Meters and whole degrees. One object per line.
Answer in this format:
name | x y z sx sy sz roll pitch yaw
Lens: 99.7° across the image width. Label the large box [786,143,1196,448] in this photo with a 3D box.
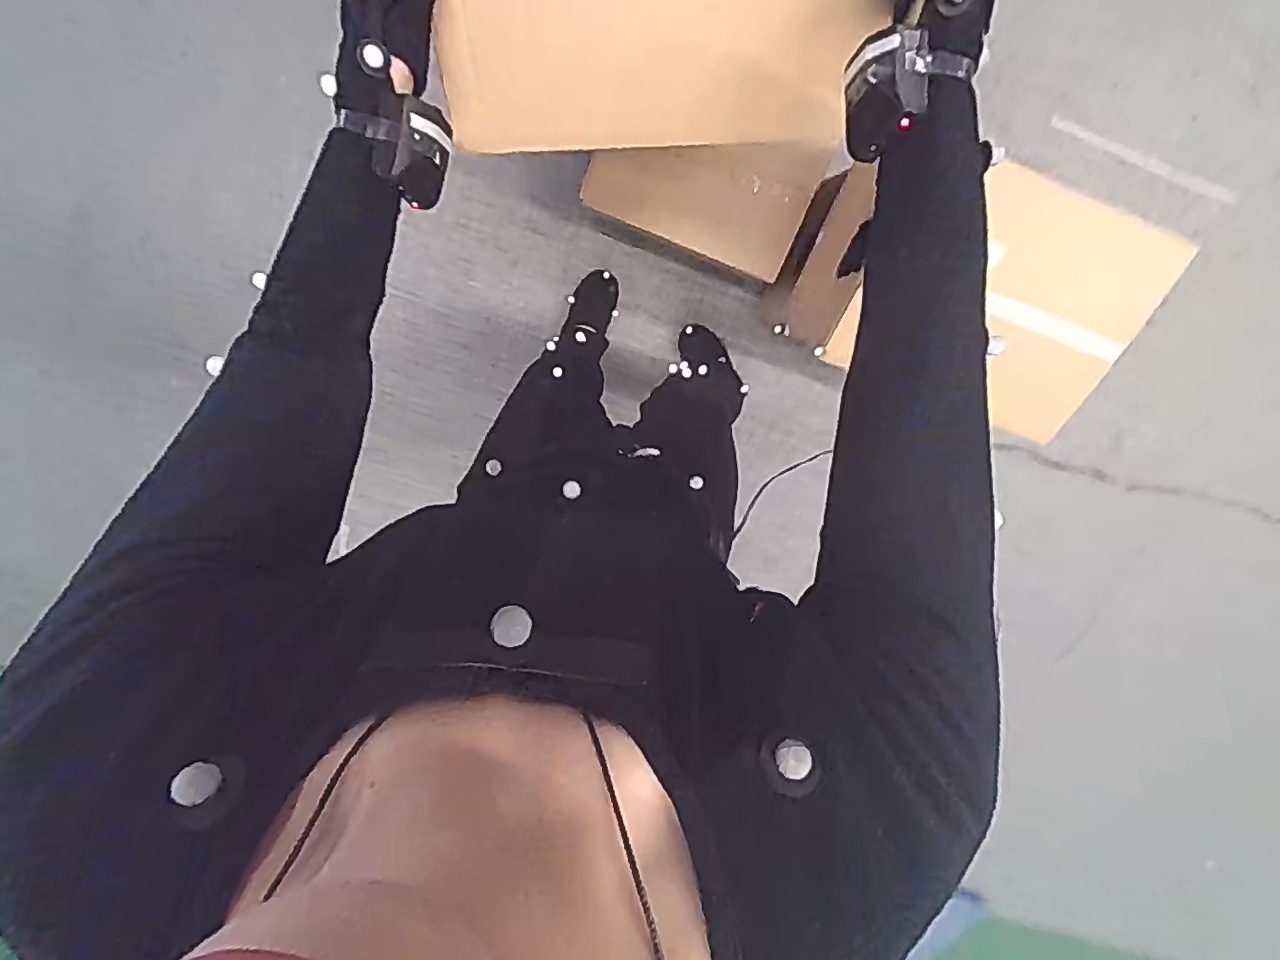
large box | 0.510 -0.303 0.891 0.408 0.320 0.320 20 116 -5
